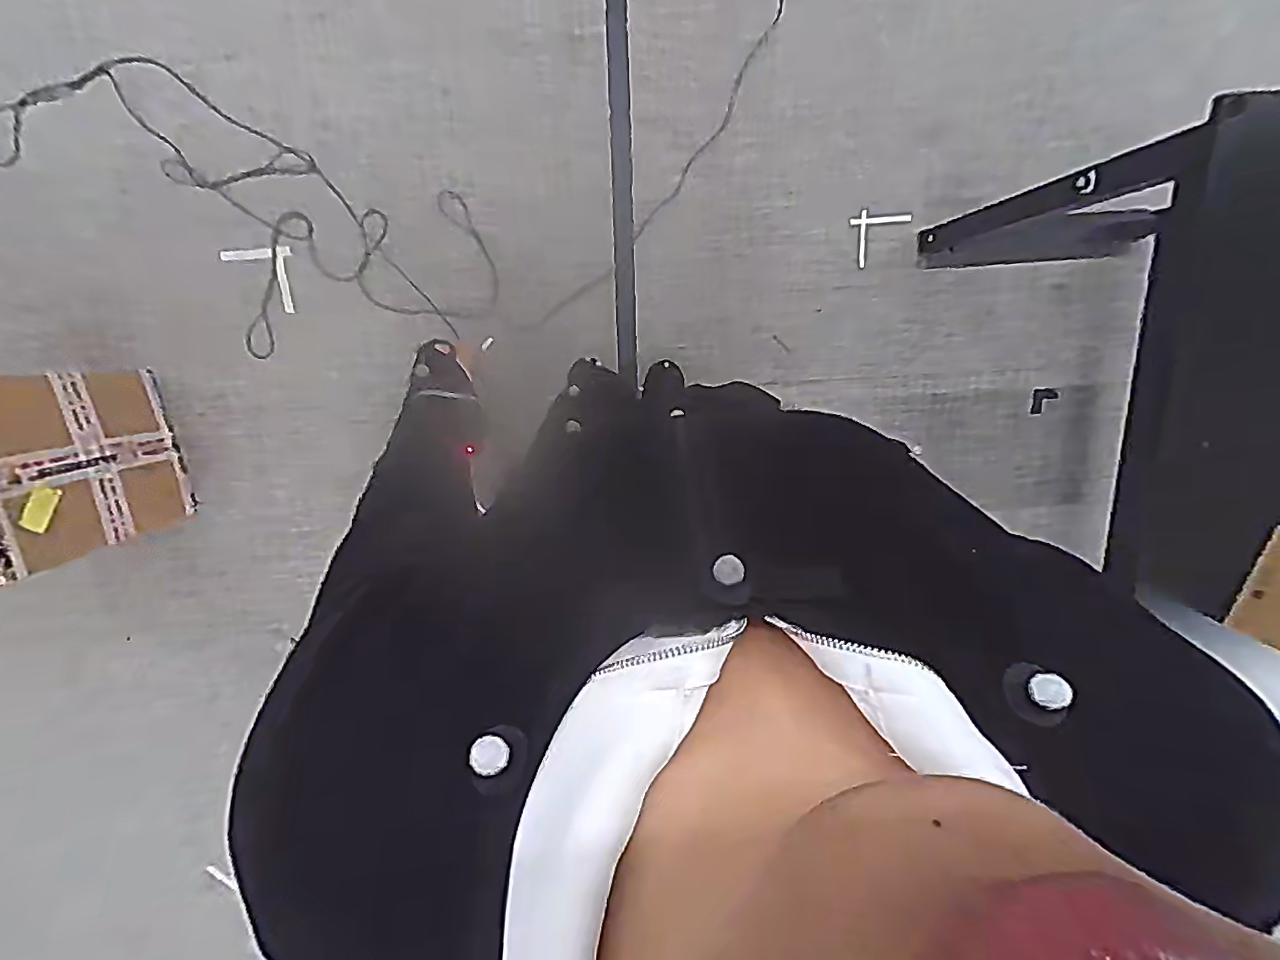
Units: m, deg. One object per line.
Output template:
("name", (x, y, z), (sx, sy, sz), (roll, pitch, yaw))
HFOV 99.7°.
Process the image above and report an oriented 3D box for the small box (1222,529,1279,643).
("small box", (0.983, 0.171, 0.738), (0.179, 0.176, 0.168), (14, 103, -5))
